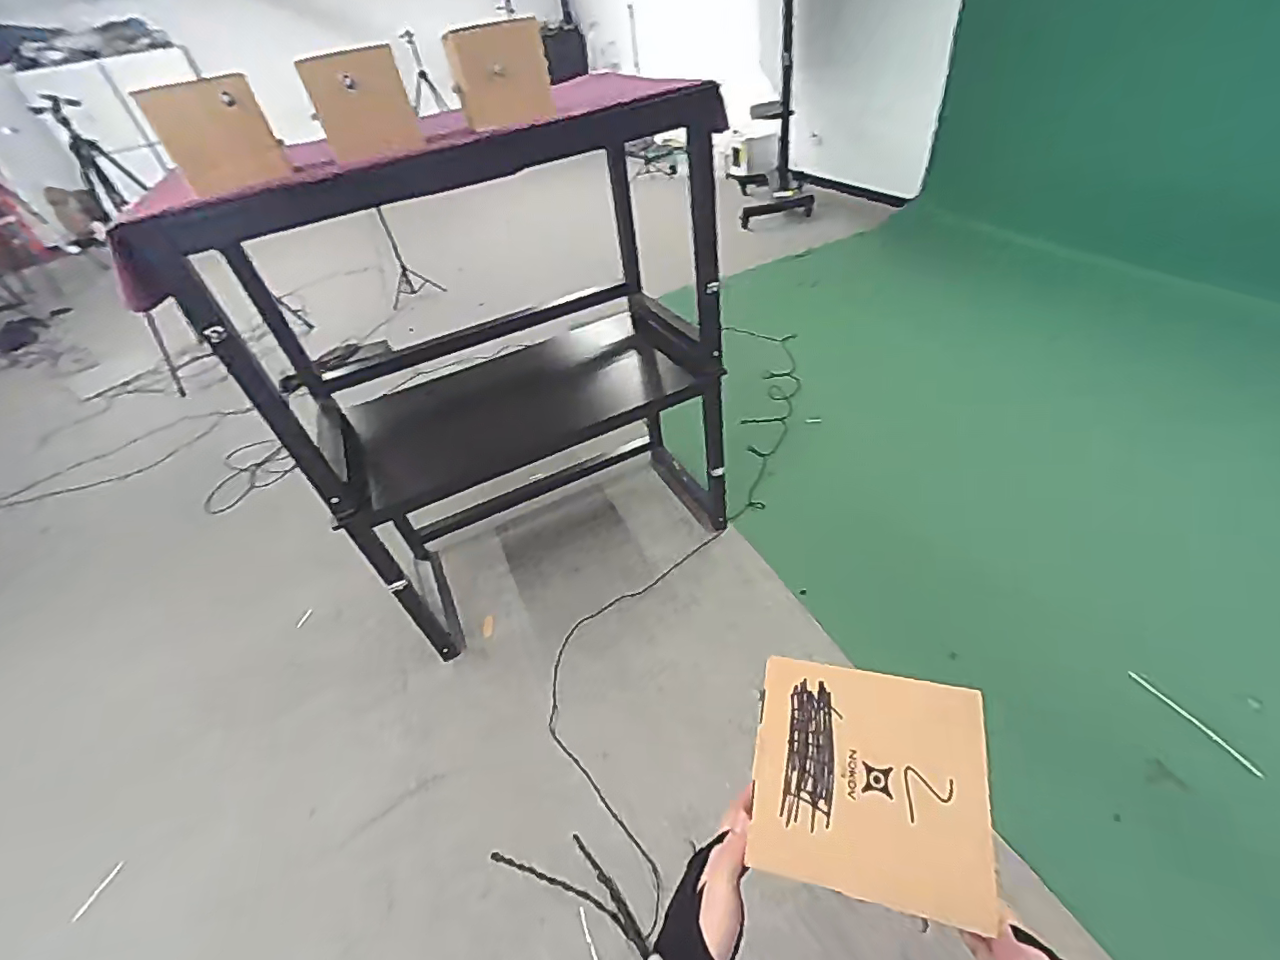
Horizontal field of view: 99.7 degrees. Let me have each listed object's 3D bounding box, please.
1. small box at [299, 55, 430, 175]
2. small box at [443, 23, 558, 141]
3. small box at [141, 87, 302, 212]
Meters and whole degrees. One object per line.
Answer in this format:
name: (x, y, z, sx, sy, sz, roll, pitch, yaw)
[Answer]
small box: (-0.551, -0.737, 1.094, 0.179, 0.176, 0.168, -22, 42, -12)
small box: (-0.298, -0.849, 1.159, 0.179, 0.176, 0.168, -23, 43, -11)
small box: (-0.782, -0.629, 1.032, 0.179, 0.176, 0.168, -26, 43, -16)
